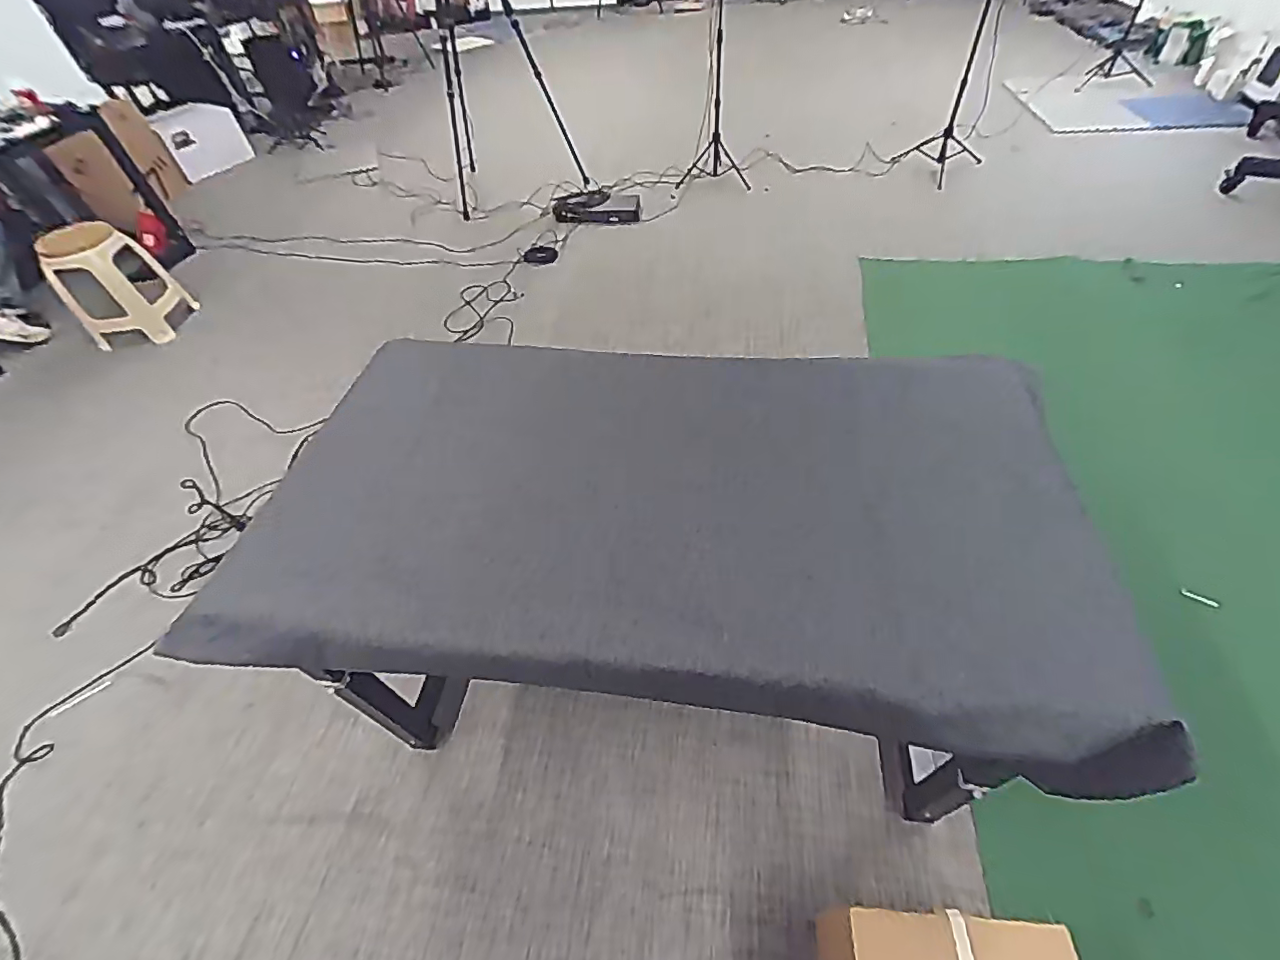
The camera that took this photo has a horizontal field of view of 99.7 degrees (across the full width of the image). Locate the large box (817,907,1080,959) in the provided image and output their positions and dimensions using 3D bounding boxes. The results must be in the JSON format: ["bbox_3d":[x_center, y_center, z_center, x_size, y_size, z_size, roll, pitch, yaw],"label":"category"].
[{"bbox_3d":[0.468,0.890,0.791,0.320,0.320,0.408,0,50,6],"label":"large box"}]
